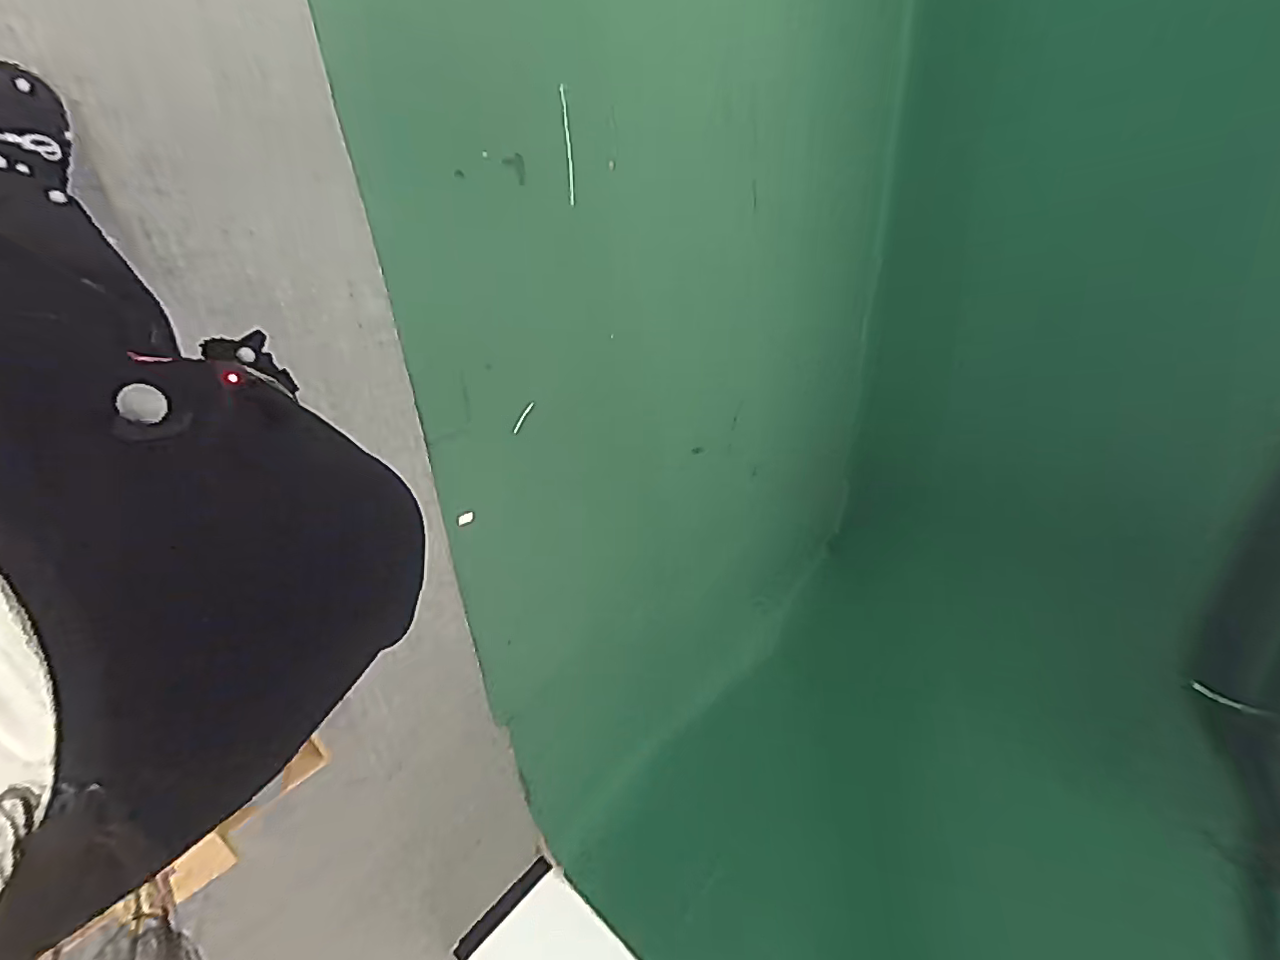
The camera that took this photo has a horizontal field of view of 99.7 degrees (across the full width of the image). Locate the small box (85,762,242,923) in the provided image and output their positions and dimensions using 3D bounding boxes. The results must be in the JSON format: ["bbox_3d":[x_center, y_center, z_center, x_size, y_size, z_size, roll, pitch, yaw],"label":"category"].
[{"bbox_3d":[-0.926,0.690,1.052,0.168,0.176,0.179,-34,129,-36],"label":"small box"}]
